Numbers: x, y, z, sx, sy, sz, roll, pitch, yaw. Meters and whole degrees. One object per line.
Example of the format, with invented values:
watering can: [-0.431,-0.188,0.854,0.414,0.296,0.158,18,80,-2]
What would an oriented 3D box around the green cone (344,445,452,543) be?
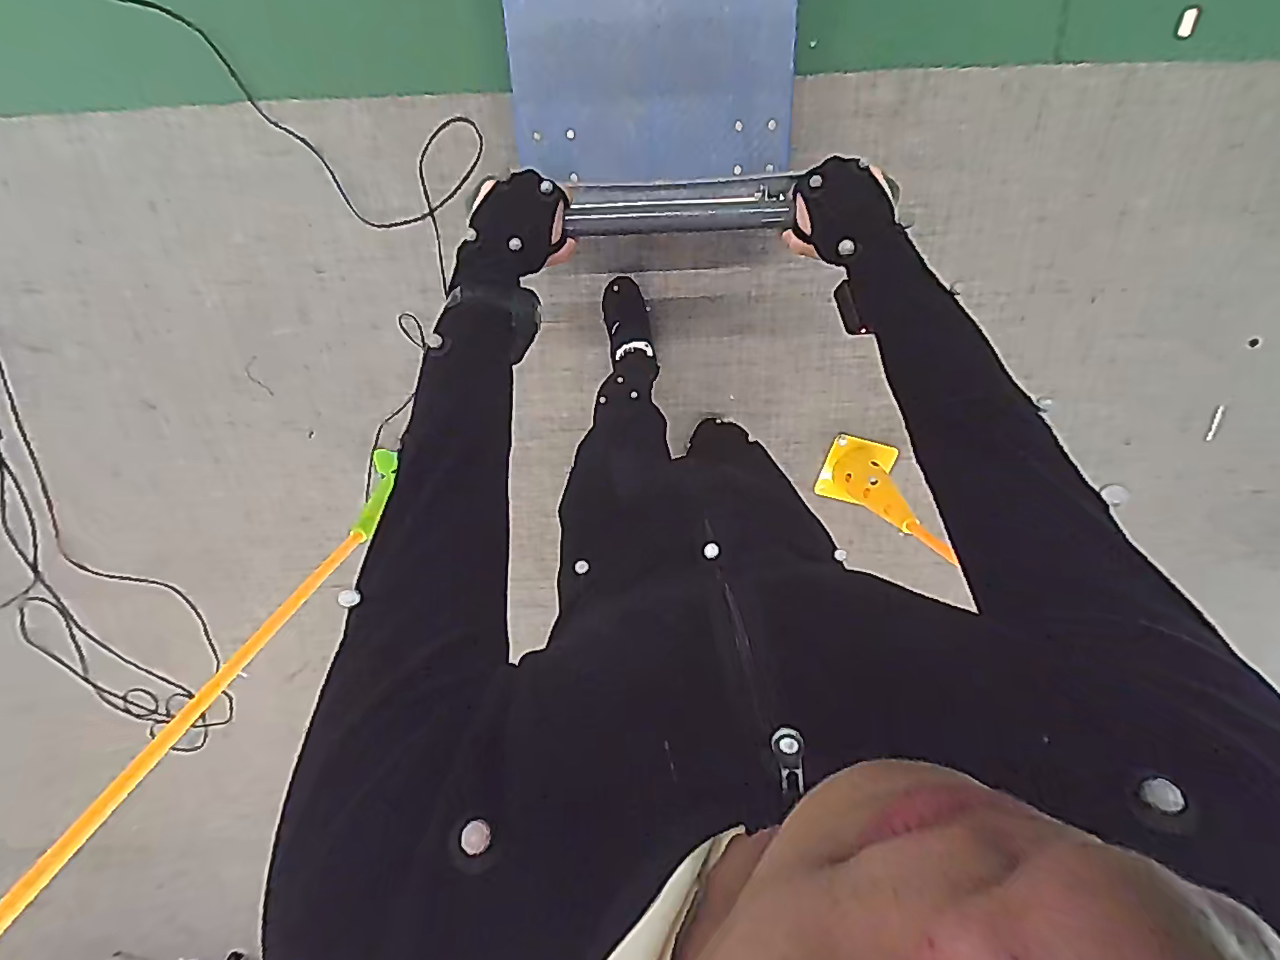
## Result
green cone: [-0.683,0.061,1.463,0.202,0.368,0.200,-5,113,4]
